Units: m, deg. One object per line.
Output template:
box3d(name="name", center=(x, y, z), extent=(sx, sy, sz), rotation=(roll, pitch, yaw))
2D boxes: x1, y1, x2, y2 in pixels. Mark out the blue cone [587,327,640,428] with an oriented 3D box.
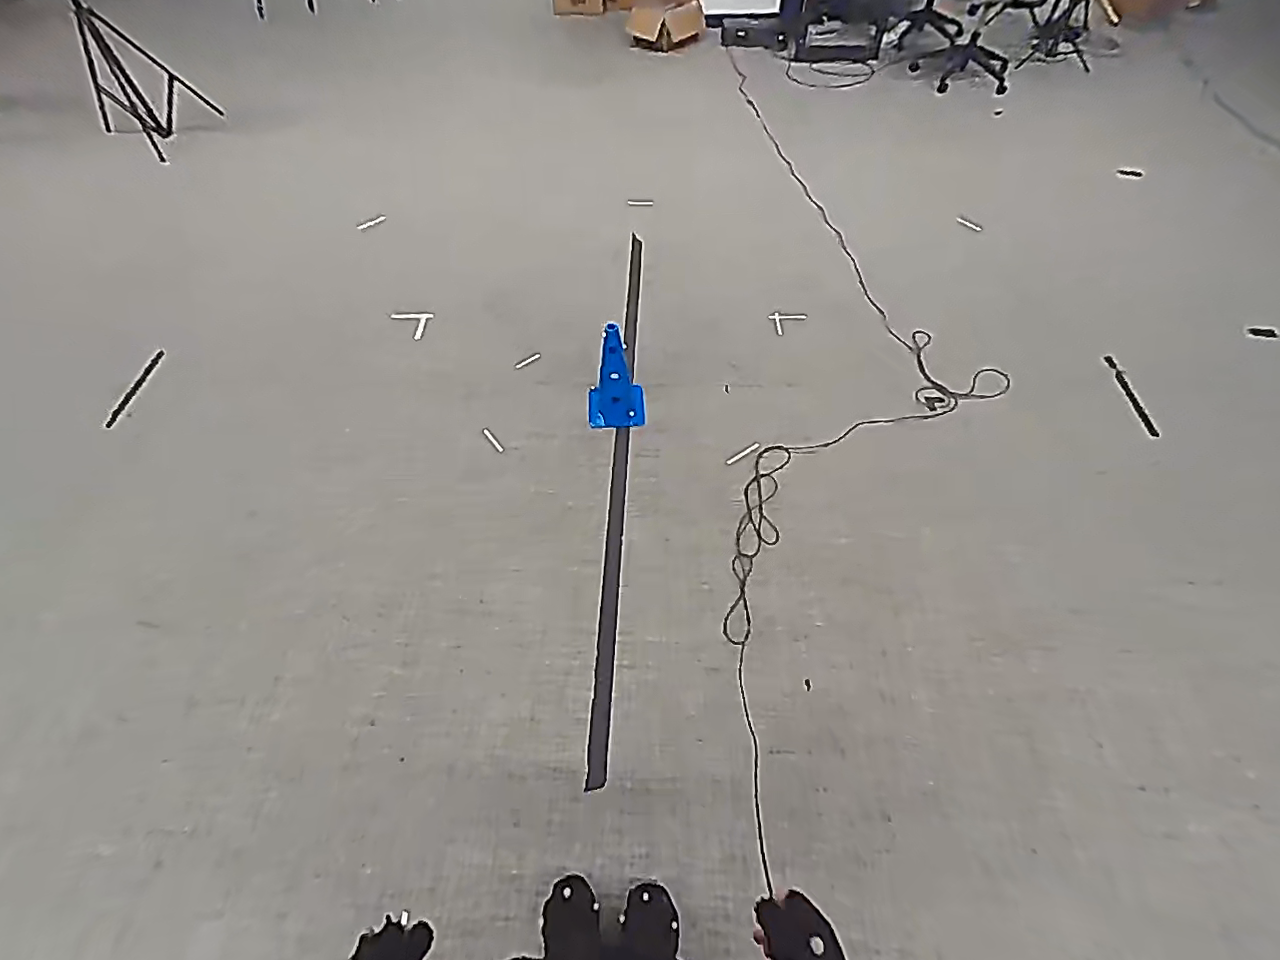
box3d(name="blue cone", center=(-0.100, -0.357, 1.825), extent=(0.192, 0.380, 0.193), rotation=(-2, 54, 0))
